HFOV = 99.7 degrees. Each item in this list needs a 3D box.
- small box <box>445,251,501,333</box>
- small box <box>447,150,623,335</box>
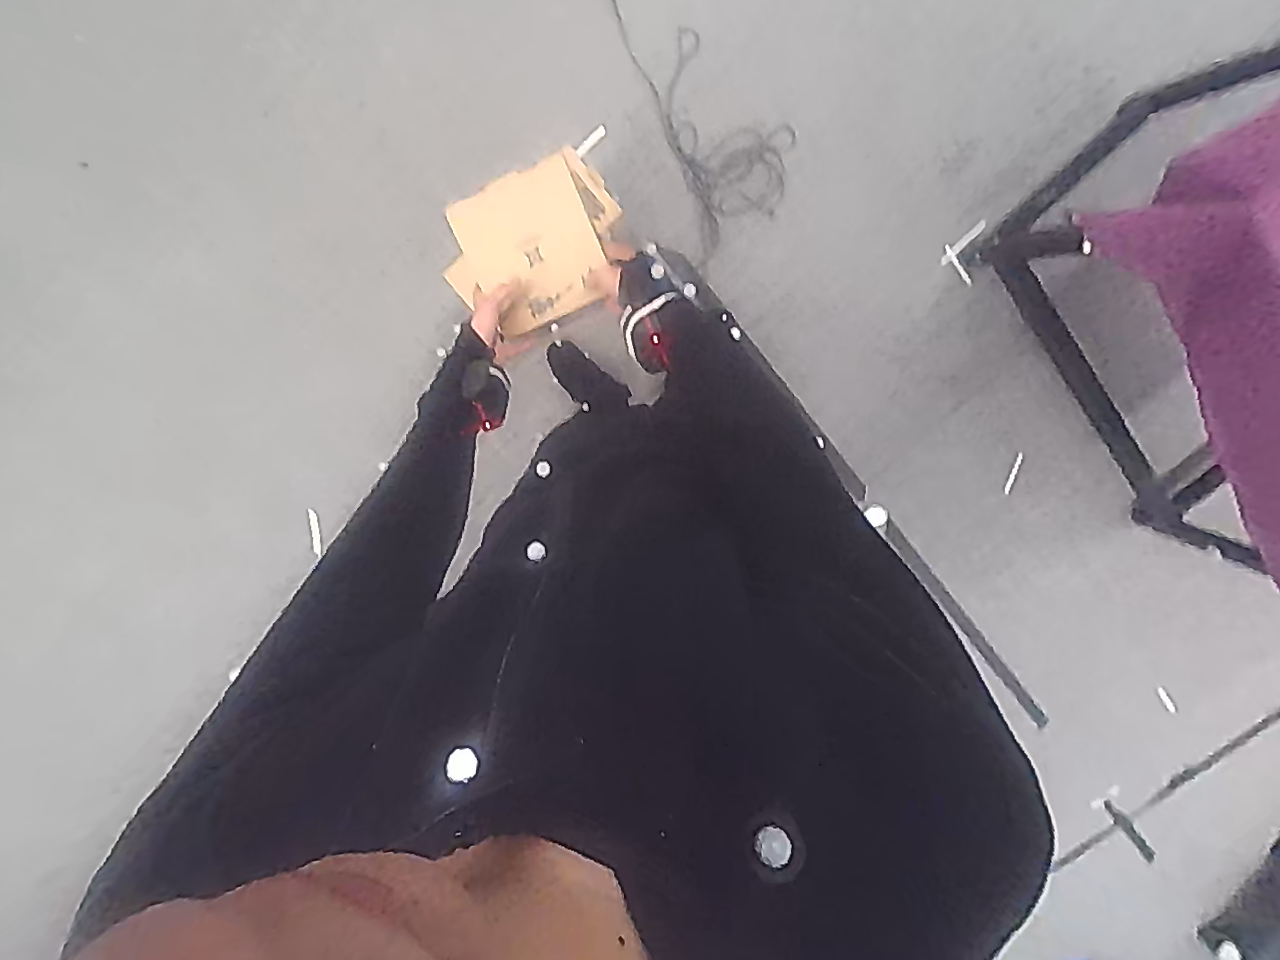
[{"bbox_3d":[-0.299,-0.456,1.214,0.179,0.176,0.168,-37,107,10],"label":"small box"},{"bbox_3d":[-0.132,-0.313,0.754,0.168,0.176,0.179,-21,104,8],"label":"small box"}]
